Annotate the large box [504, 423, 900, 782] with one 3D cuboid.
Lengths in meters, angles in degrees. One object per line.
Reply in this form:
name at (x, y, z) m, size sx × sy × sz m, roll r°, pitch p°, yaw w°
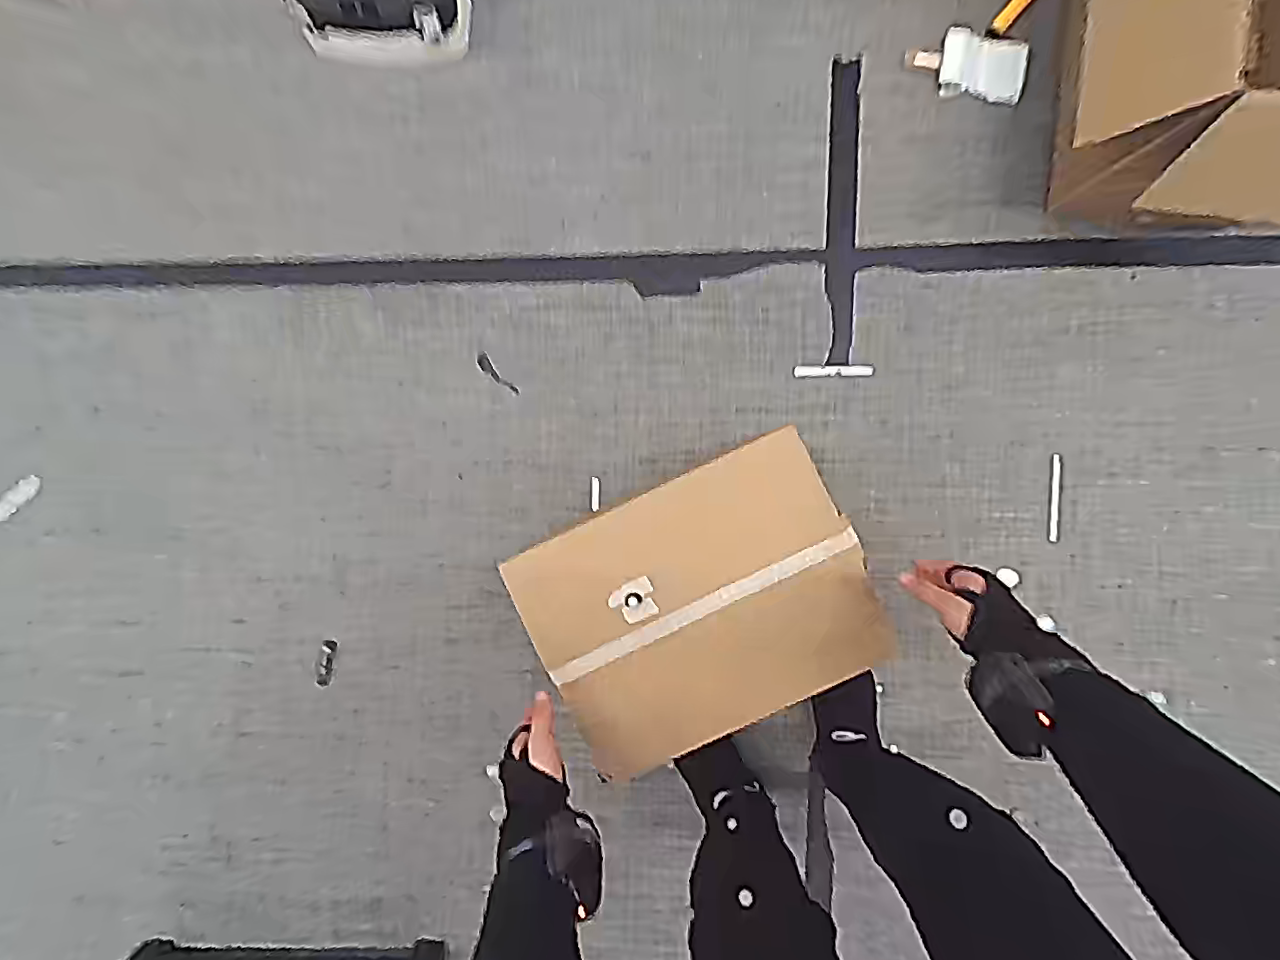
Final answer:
large box at (0.080, 0.146, 0.806) m, size 0.408 × 0.320 × 0.320 m, roll -26°, pitch 90°, yaw 3°
